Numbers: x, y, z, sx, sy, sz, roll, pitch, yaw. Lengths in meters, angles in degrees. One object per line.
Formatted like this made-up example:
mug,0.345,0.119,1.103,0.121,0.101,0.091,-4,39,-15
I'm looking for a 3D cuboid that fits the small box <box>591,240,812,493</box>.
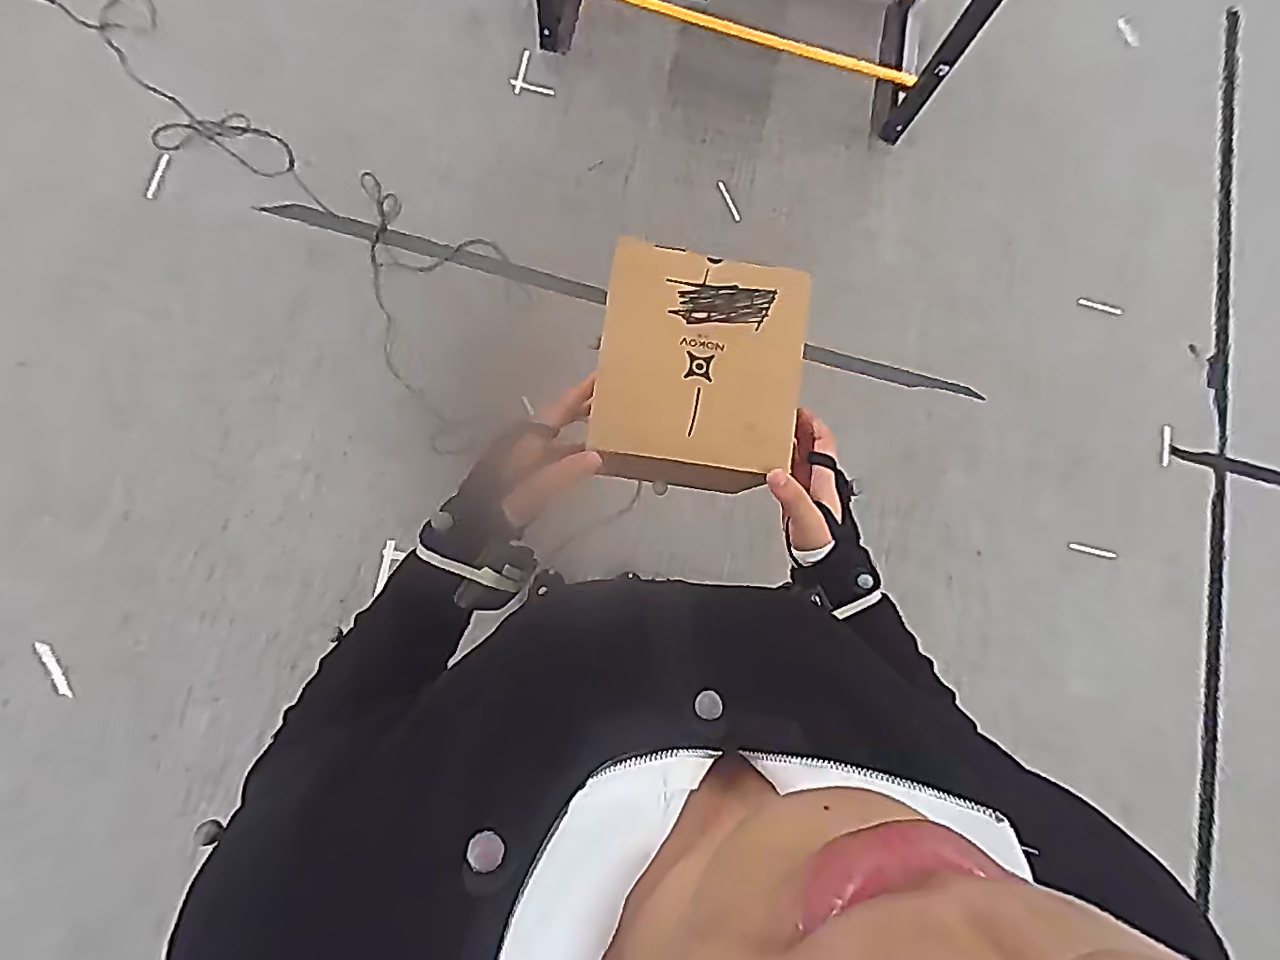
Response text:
small box,0.045,-0.090,0.514,0.168,0.176,0.179,8,83,-4
